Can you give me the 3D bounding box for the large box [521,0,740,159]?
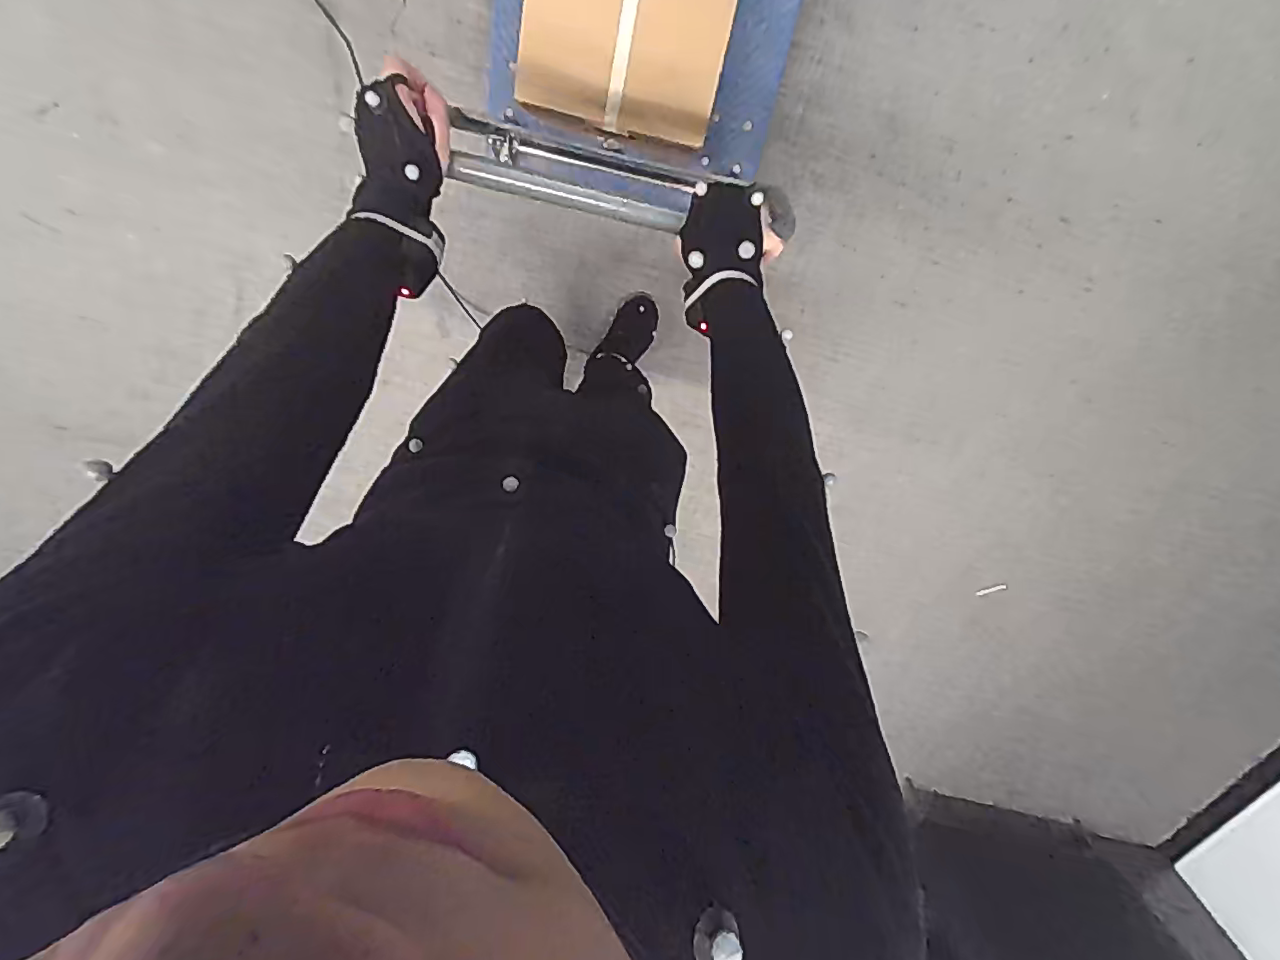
[{"bbox_3d":[0.005,-0.817,0.918,0.320,0.320,0.408,12,115,-4],"label":"large box"}]
